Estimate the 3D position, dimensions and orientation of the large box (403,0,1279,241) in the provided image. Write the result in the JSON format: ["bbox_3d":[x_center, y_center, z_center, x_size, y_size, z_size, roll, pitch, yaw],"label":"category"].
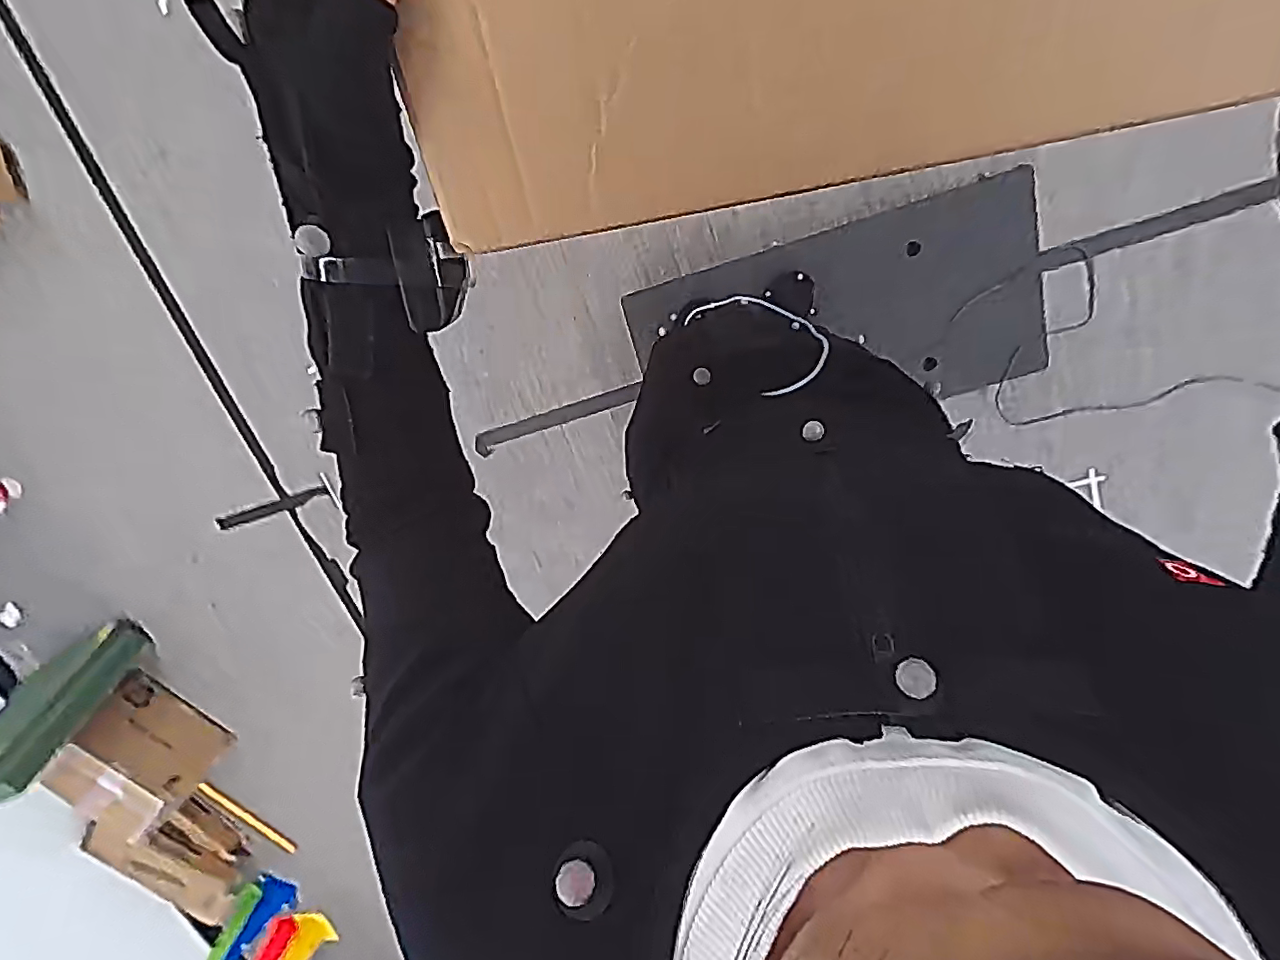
[{"bbox_3d":[0.087,-0.361,0.329,0.408,0.320,0.320,-6,119,10],"label":"large box"}]

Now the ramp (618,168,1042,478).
[{"bbox_3d":[0.488,-0.372,1.366,0.991,0.206,0.509,-16,105,14],"label":"ramp"}]
